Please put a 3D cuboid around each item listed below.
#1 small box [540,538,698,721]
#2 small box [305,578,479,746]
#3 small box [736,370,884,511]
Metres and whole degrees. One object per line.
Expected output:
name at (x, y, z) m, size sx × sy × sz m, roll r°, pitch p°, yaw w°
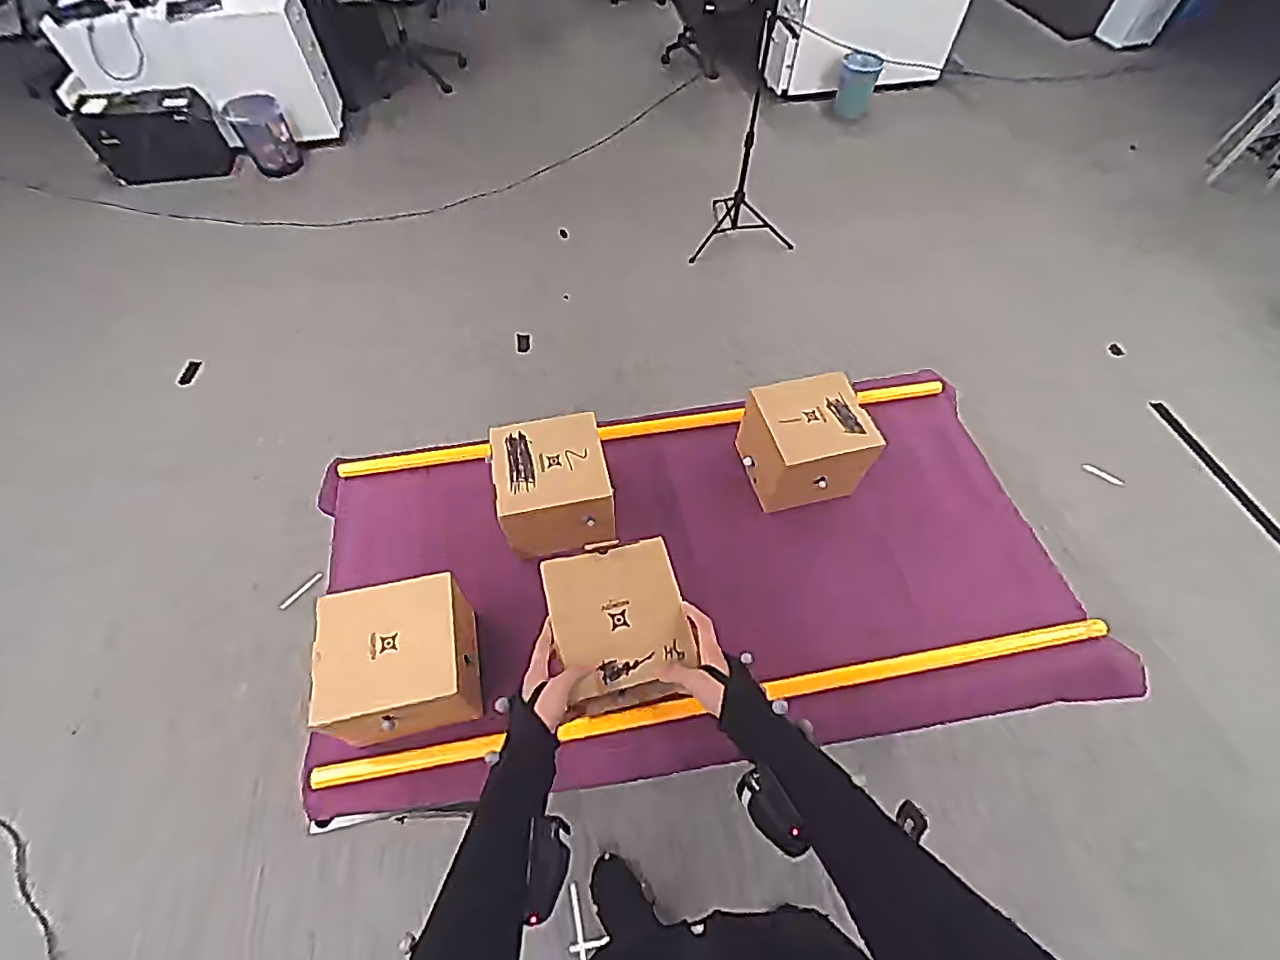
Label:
small box at (-0.037, 0.203, 0.725) m, size 0.168 × 0.176 × 0.179 m, roll -11°, pitch 61°, yaw -11°
small box at (-0.328, 0.256, 0.751) m, size 0.179 × 0.176 × 0.168 m, roll -11°, pitch 58°, yaw -8°
small box at (0.286, -0.065, 0.956) m, size 0.179 × 0.176 × 0.168 m, roll -13°, pitch 60°, yaw -7°
